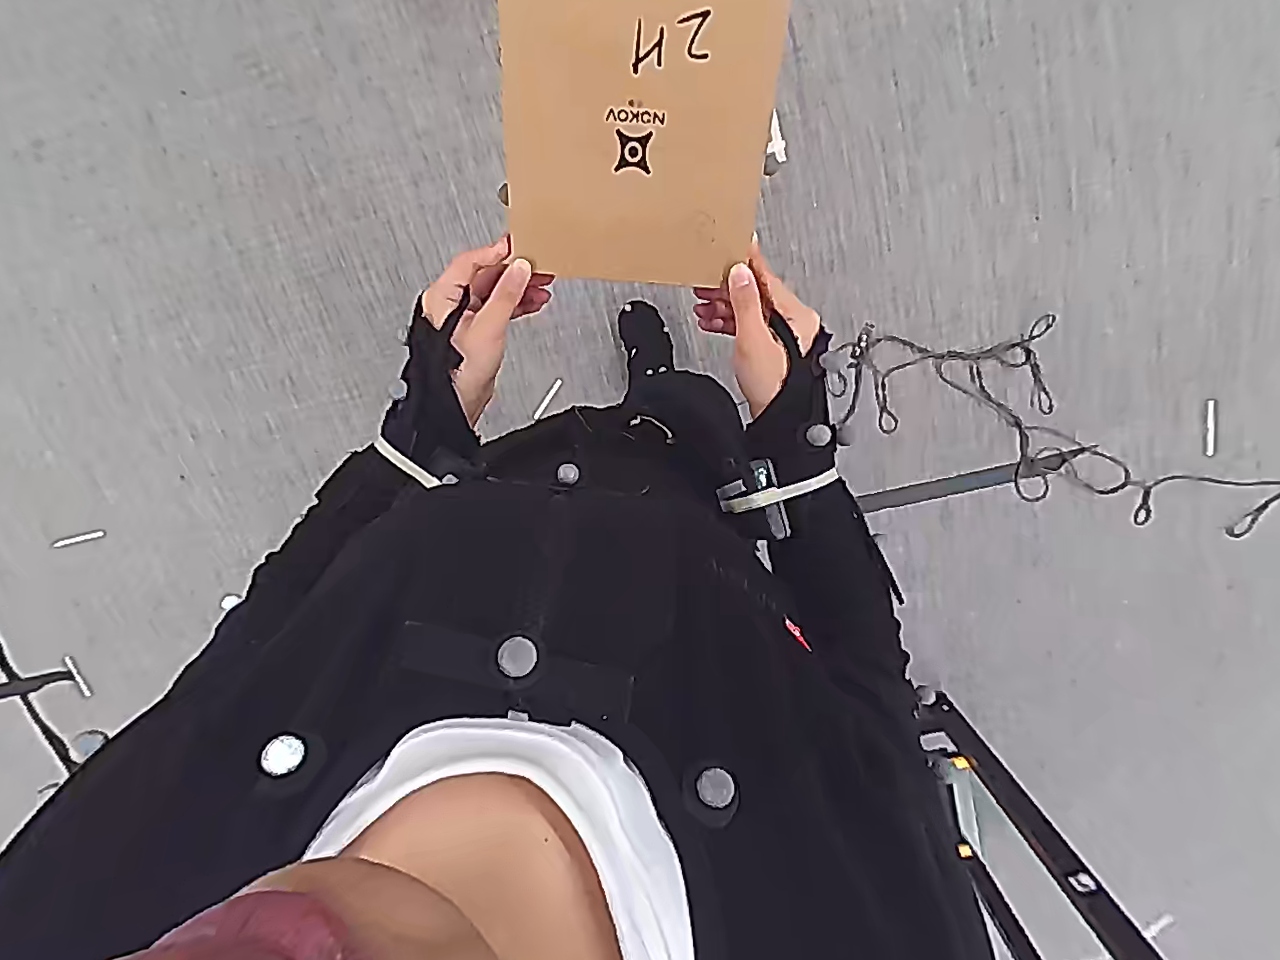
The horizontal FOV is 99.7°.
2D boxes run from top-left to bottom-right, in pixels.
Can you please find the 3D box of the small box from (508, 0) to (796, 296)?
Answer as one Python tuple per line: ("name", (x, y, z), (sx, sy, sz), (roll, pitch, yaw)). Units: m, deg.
("small box", (0.005, -0.254, 0.410), (0.168, 0.176, 0.179), (5, 121, 0))
